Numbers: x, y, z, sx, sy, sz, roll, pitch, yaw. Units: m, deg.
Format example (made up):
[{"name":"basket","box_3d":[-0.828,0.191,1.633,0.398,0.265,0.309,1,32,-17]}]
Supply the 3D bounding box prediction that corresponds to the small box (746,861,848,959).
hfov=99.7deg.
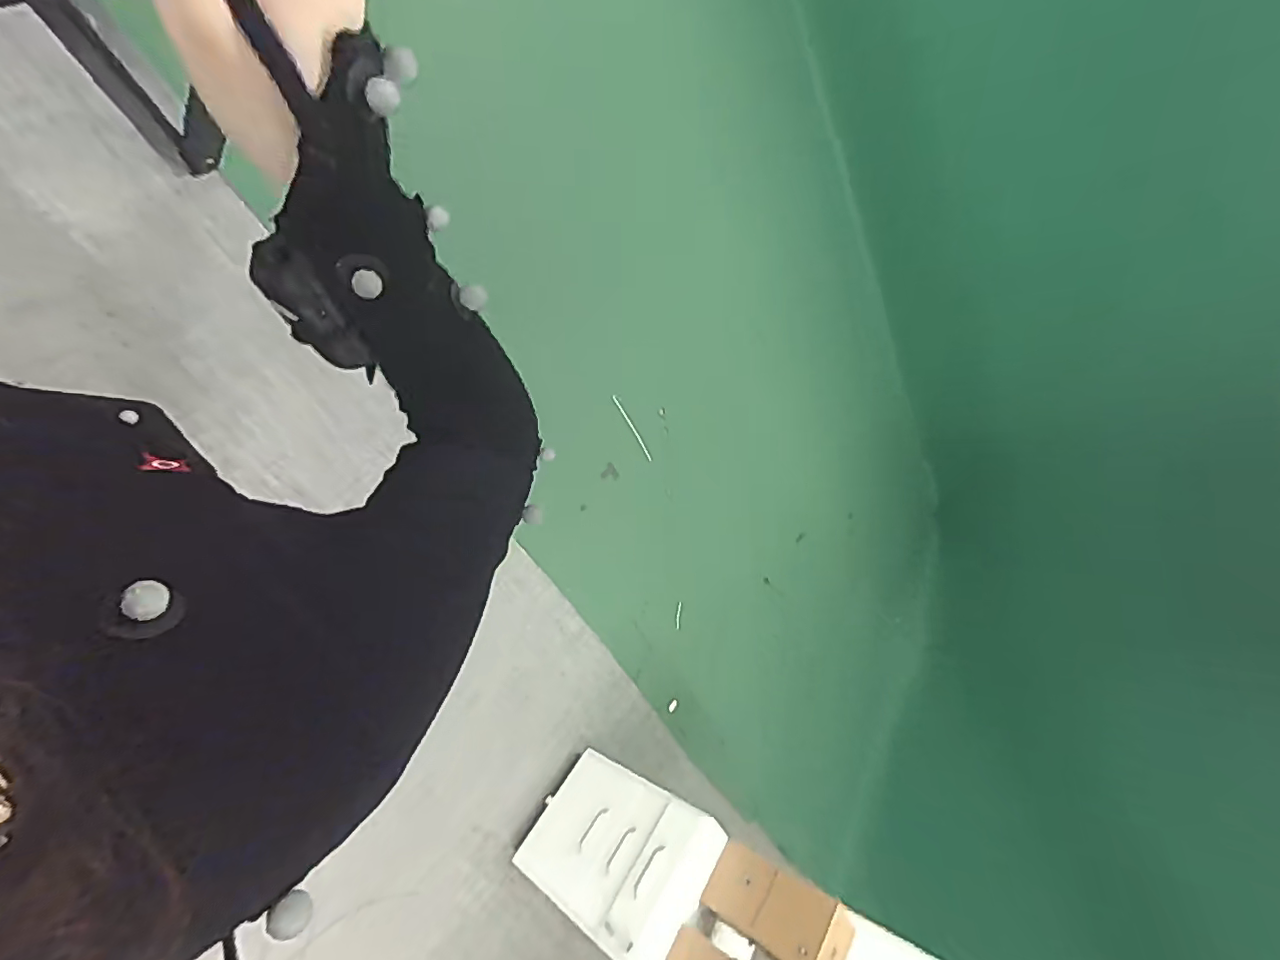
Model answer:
[{"name":"small box","box_3d":[0.398,1.123,1.373,0.179,0.176,0.168,-47,121,-32]}]

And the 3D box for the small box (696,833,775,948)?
[{"name":"small box","box_3d":[0.284,1.125,1.492,0.179,0.176,0.168,-49,122,-31]}]
